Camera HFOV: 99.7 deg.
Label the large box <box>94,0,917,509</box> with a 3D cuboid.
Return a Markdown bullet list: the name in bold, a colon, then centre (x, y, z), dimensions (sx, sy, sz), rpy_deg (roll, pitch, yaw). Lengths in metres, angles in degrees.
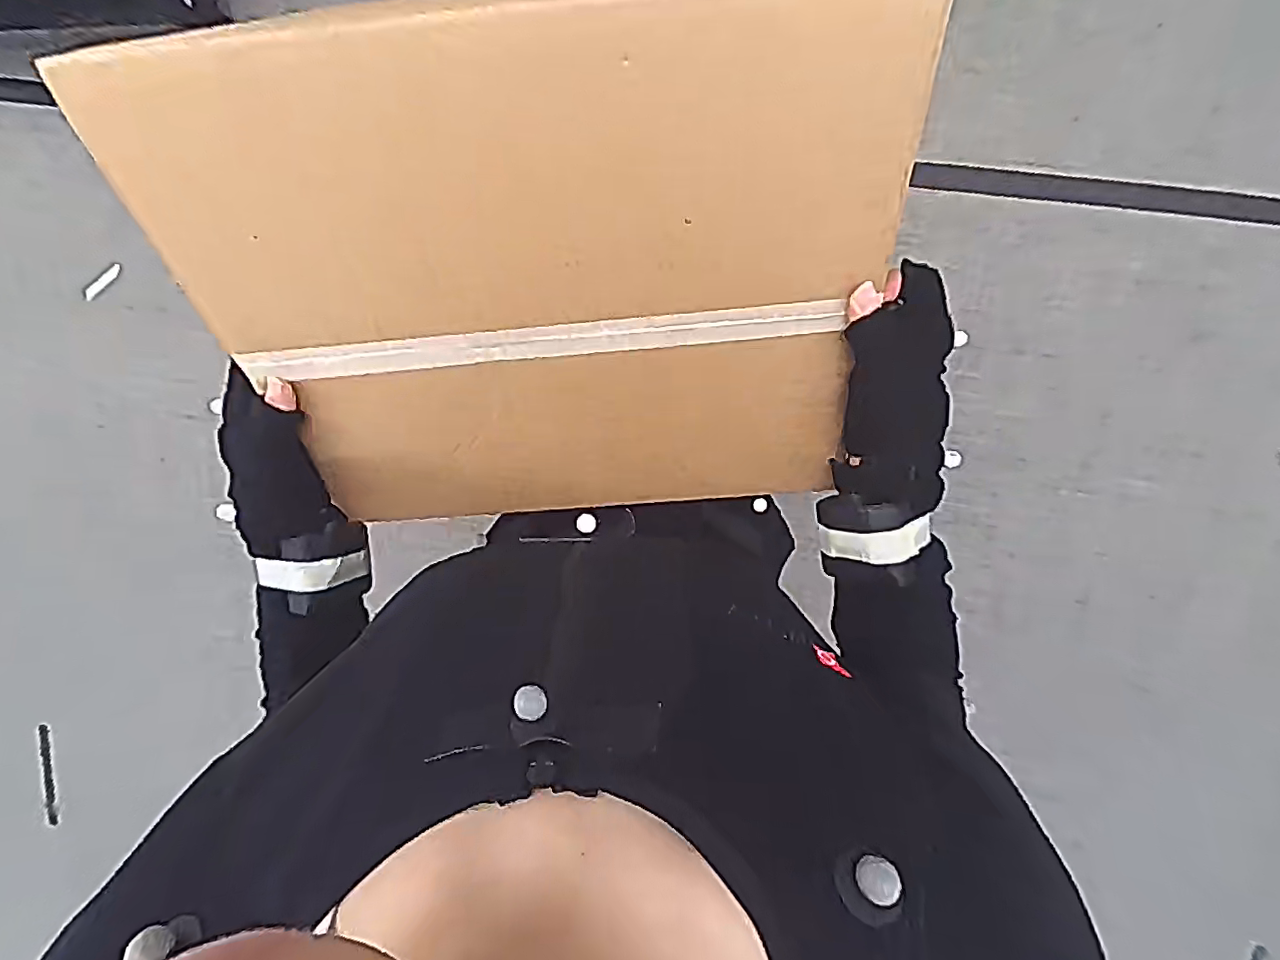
- **large box**: centre (-0.058, -0.203, 0.459), dimensions (0.408, 0.320, 0.320), rpy_deg (-4, 134, 3)
